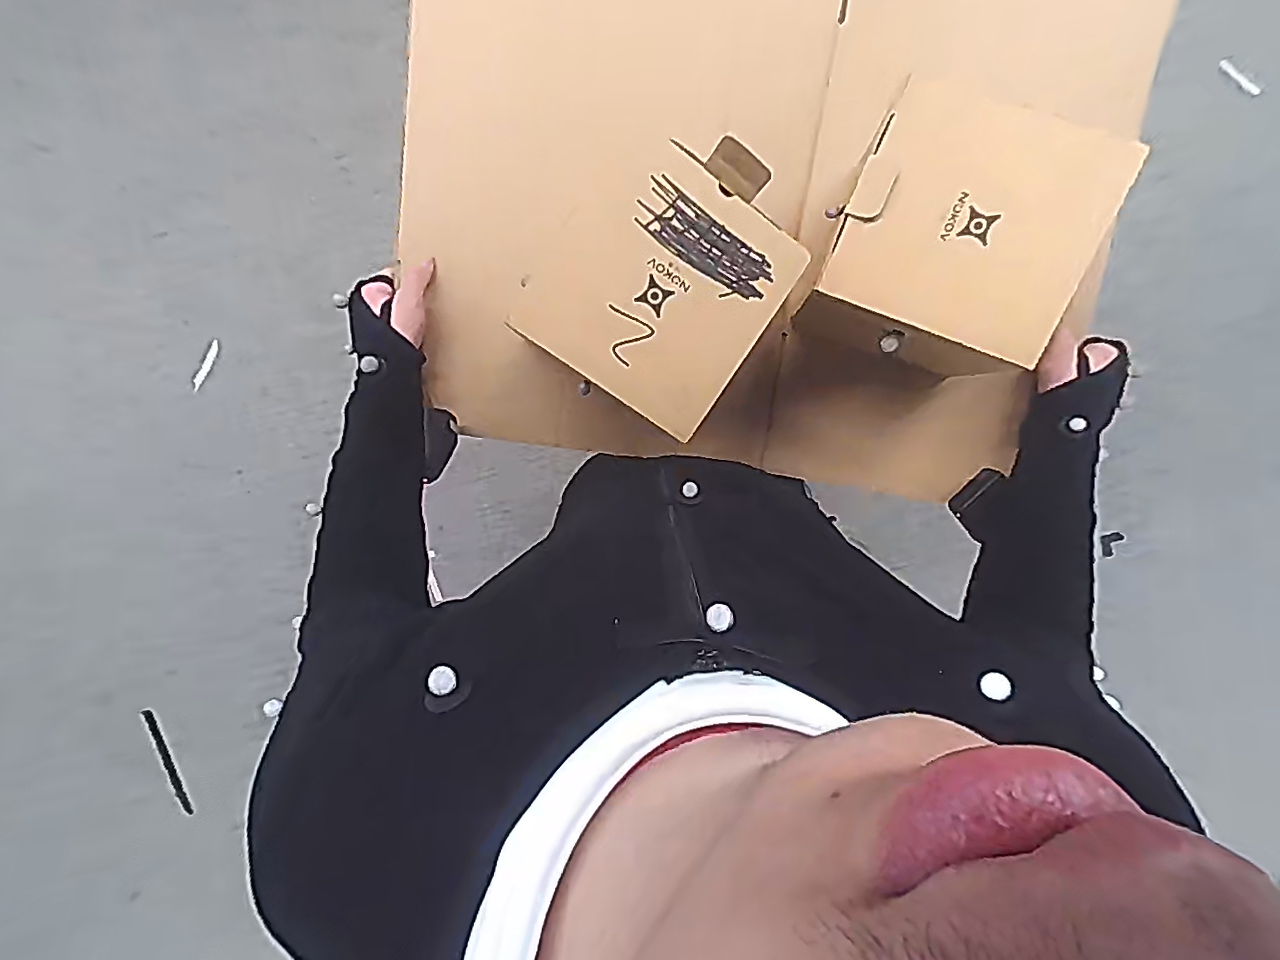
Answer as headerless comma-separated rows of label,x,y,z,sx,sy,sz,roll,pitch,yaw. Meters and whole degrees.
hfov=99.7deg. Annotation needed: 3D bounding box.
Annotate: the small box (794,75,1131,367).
small box,0.259,-0.209,0.489,0.179,0.176,0.168,23,102,6
